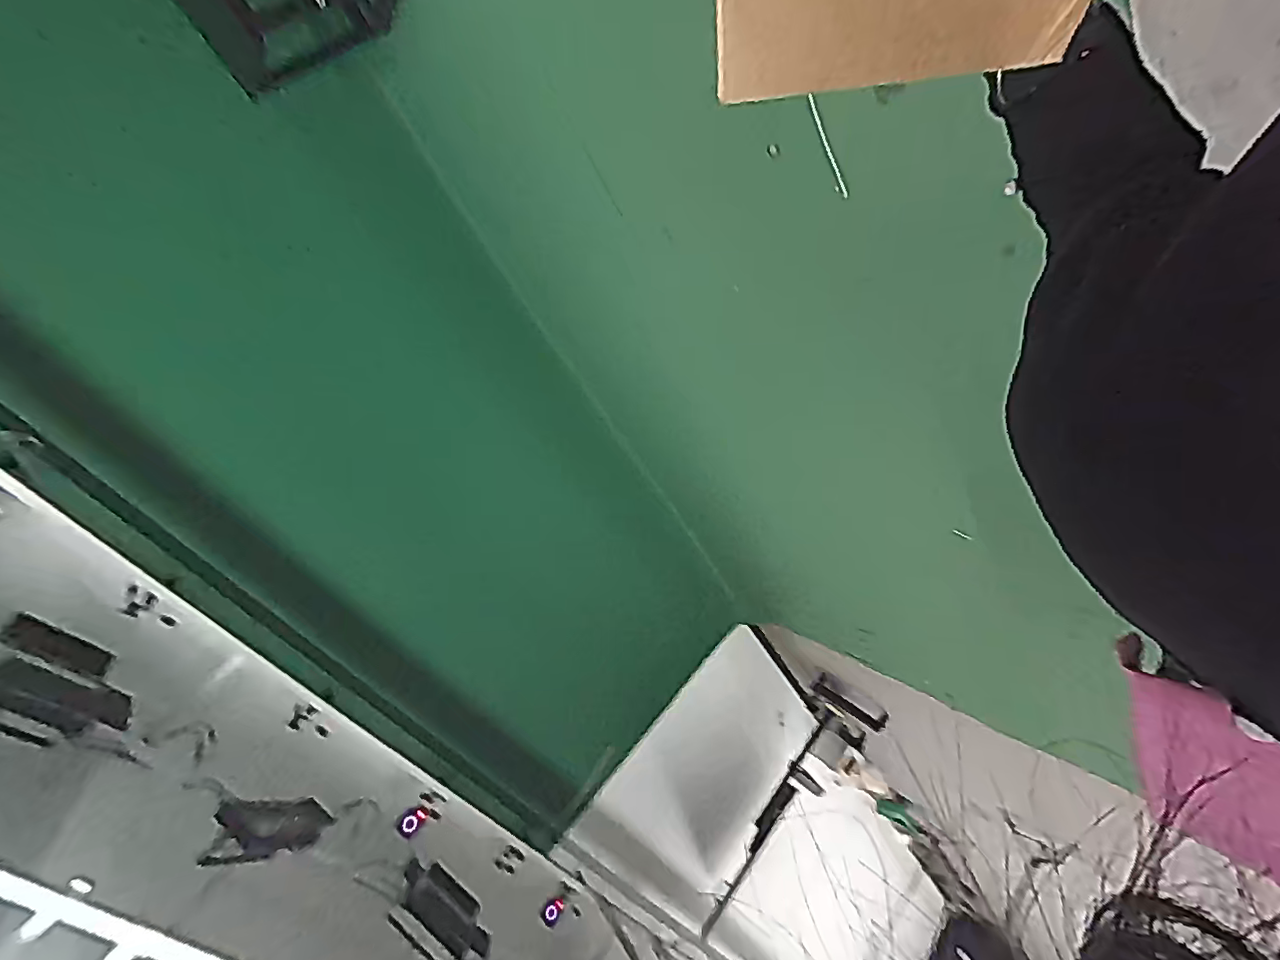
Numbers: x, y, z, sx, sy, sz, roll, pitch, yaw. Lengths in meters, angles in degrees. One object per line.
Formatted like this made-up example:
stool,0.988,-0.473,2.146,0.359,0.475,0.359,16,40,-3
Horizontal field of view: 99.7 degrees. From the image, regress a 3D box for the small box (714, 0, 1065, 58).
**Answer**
small box,0.113,-0.325,0.220,0.168,0.179,0.176,0,159,9
